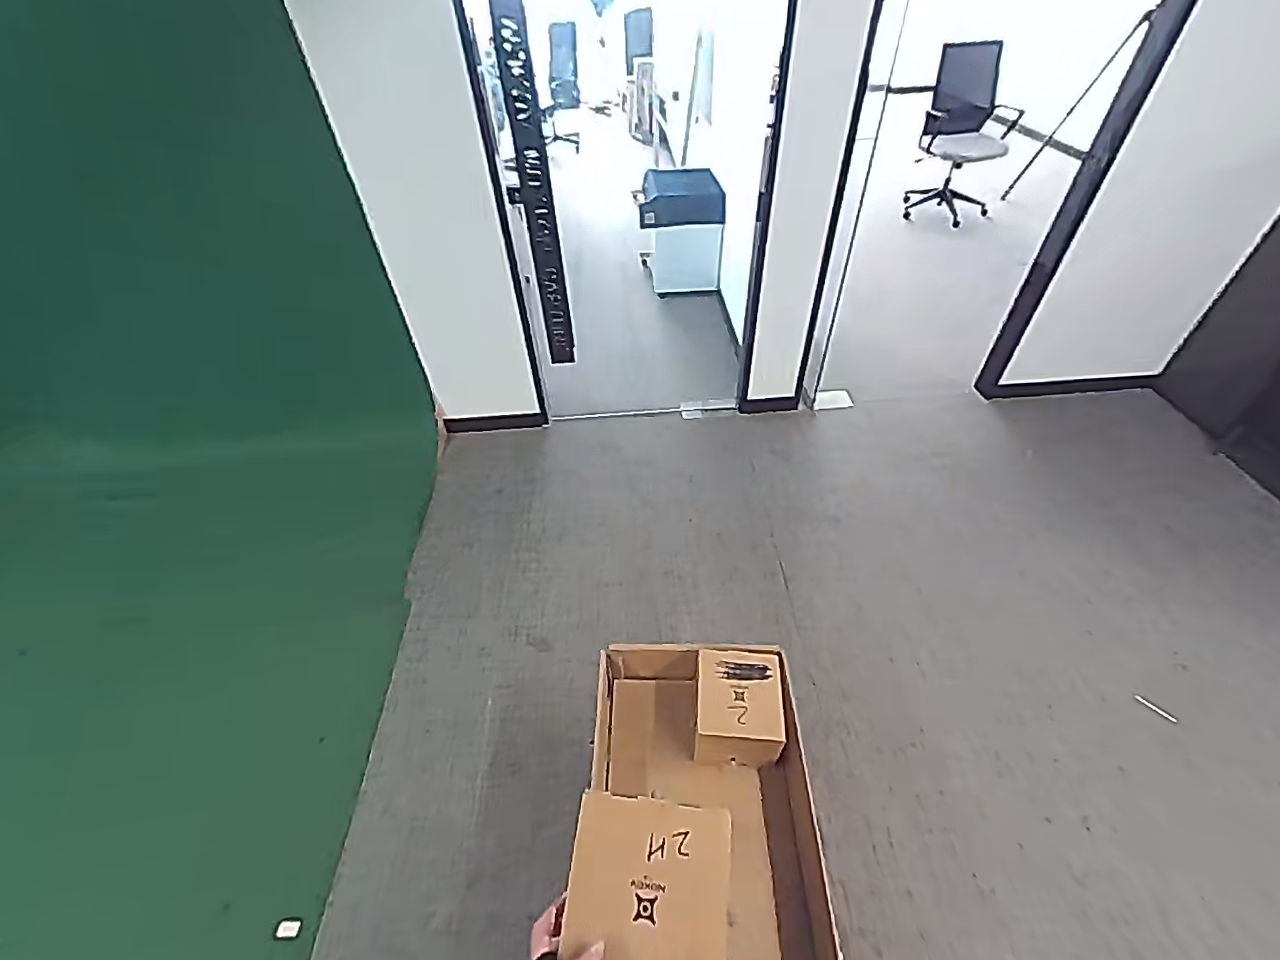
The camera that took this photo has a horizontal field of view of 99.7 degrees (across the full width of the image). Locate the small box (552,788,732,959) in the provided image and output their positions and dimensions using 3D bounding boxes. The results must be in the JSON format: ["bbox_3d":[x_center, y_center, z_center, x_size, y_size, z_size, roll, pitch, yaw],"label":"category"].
[{"bbox_3d":[0.007,0.463,0.608,0.168,0.176,0.179,7,57,5],"label":"small box"}]
